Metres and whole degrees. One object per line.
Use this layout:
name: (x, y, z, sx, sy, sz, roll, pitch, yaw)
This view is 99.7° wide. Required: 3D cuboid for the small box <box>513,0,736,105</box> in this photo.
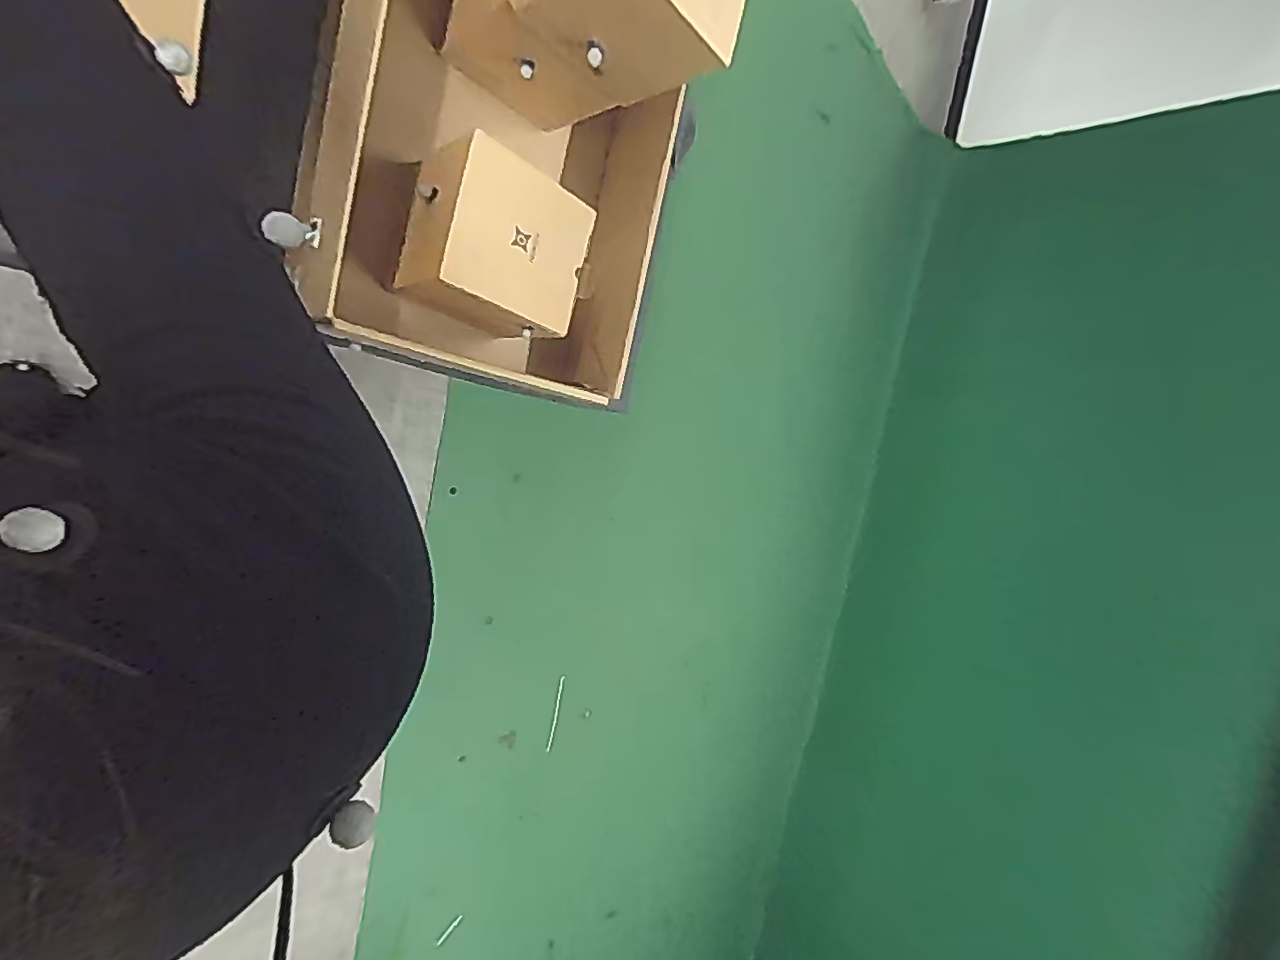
small box: (-0.010, -0.539, 0.560, 0.168, 0.176, 0.179, 8, 98, -47)
